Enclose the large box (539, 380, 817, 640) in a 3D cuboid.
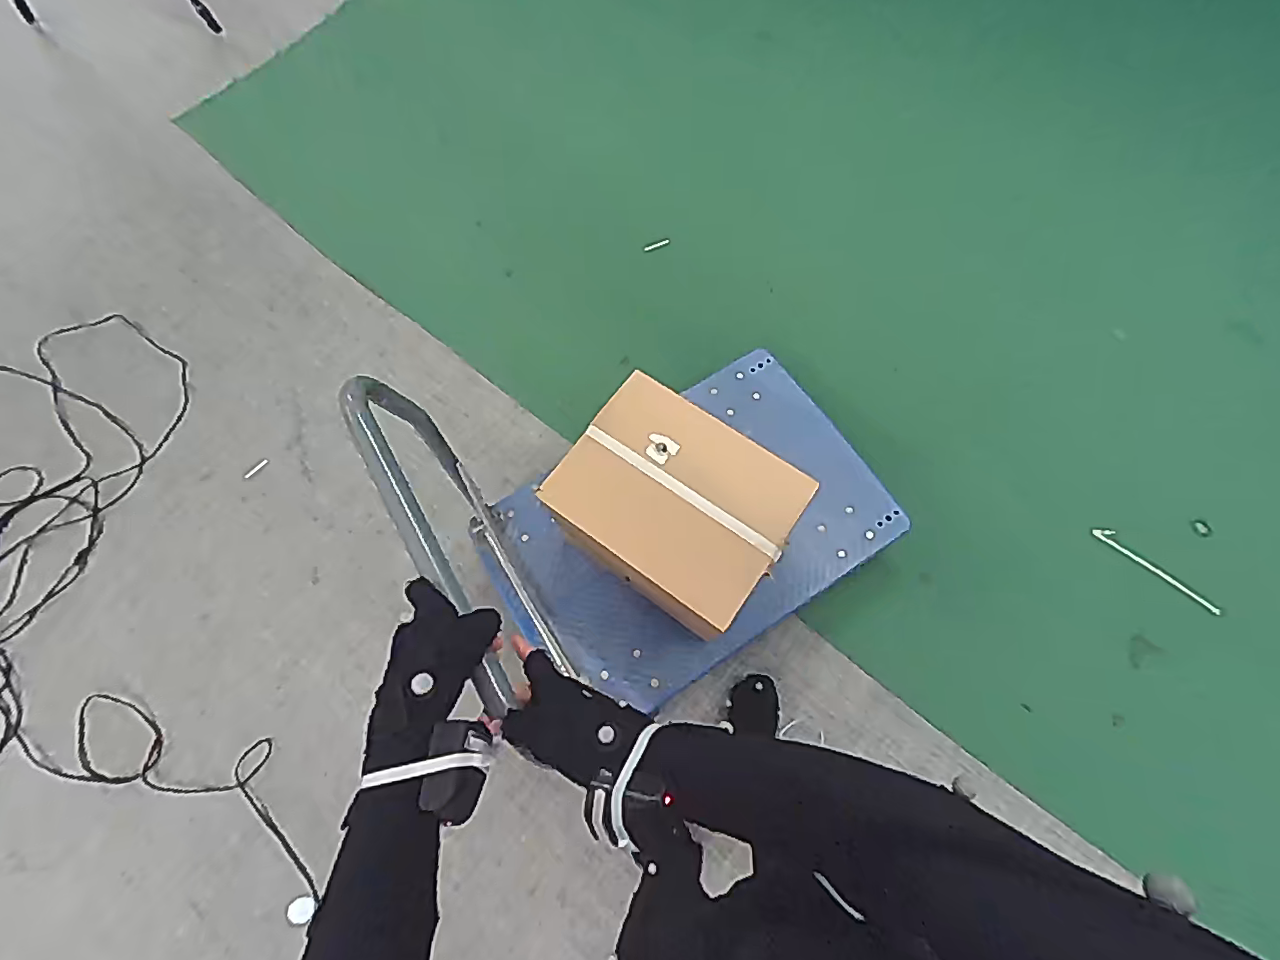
[{"bbox_3d":[0.075,0.077,1.096,0.408,0.320,0.320,34,75,14],"label":"large box"}]
